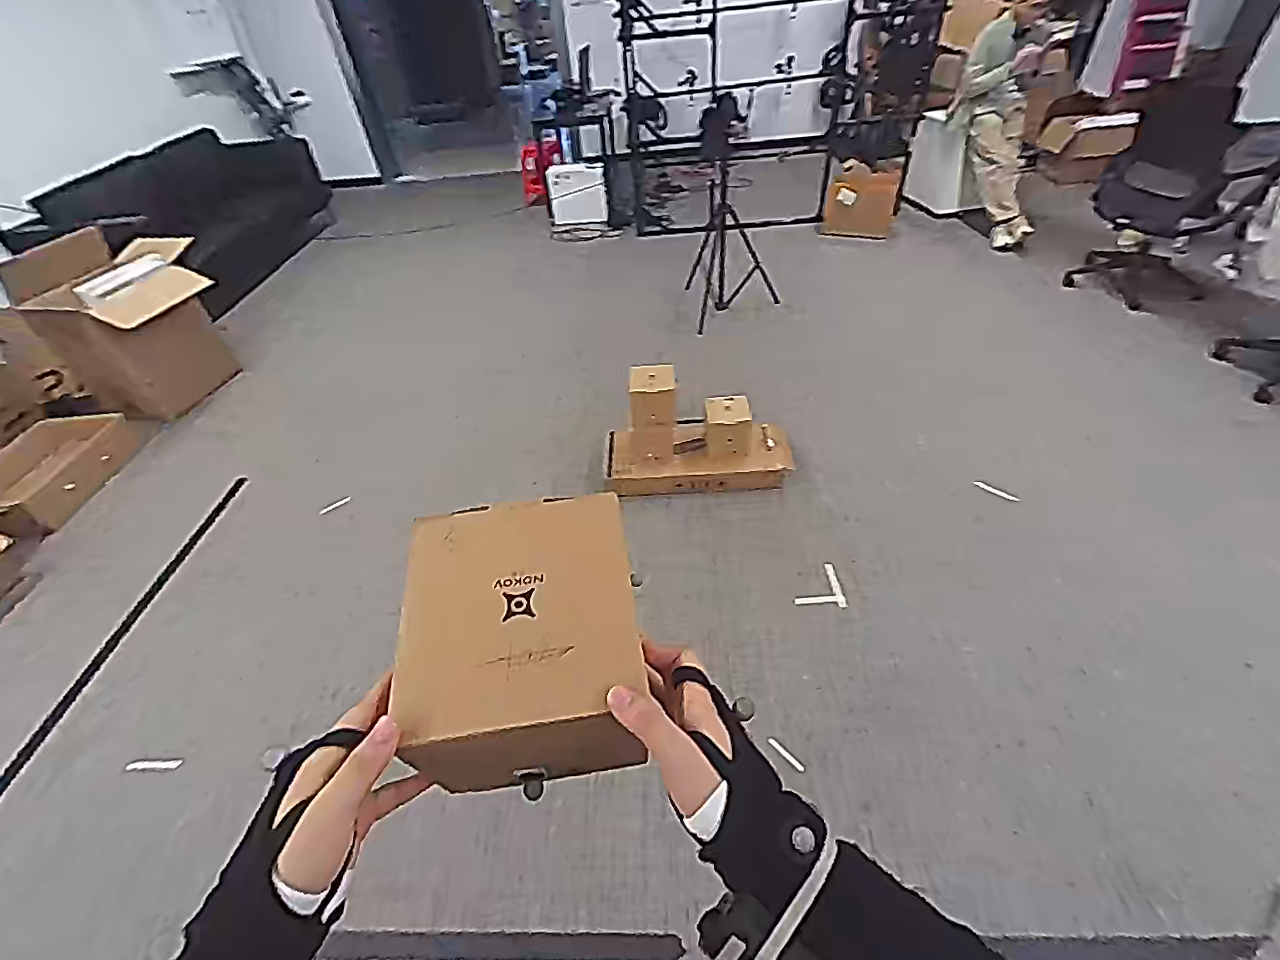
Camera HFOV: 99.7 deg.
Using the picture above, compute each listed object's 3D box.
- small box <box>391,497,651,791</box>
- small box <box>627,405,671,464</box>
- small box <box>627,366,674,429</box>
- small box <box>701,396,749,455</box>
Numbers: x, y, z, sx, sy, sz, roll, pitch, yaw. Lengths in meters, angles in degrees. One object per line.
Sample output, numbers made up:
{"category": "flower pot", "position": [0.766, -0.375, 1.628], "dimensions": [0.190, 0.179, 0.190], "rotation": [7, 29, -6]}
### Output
{"category": "small box", "position": [-0.085, 0.138, 0.455], "dimensions": [0.168, 0.176, 0.179], "rotation": [-7, 51, -5]}
{"category": "small box", "position": [0.034, -0.184, 2.140], "dimensions": [0.168, 0.176, 0.179], "rotation": [-4, 43, 1]}
{"category": "small box", "position": [0.041, -0.311, 2.033], "dimensions": [0.168, 0.176, 0.179], "rotation": [-3, 43, 3]}
{"category": "small box", "position": [0.333, -0.210, 2.135], "dimensions": [0.168, 0.176, 0.179], "rotation": [-4, 43, 2]}
